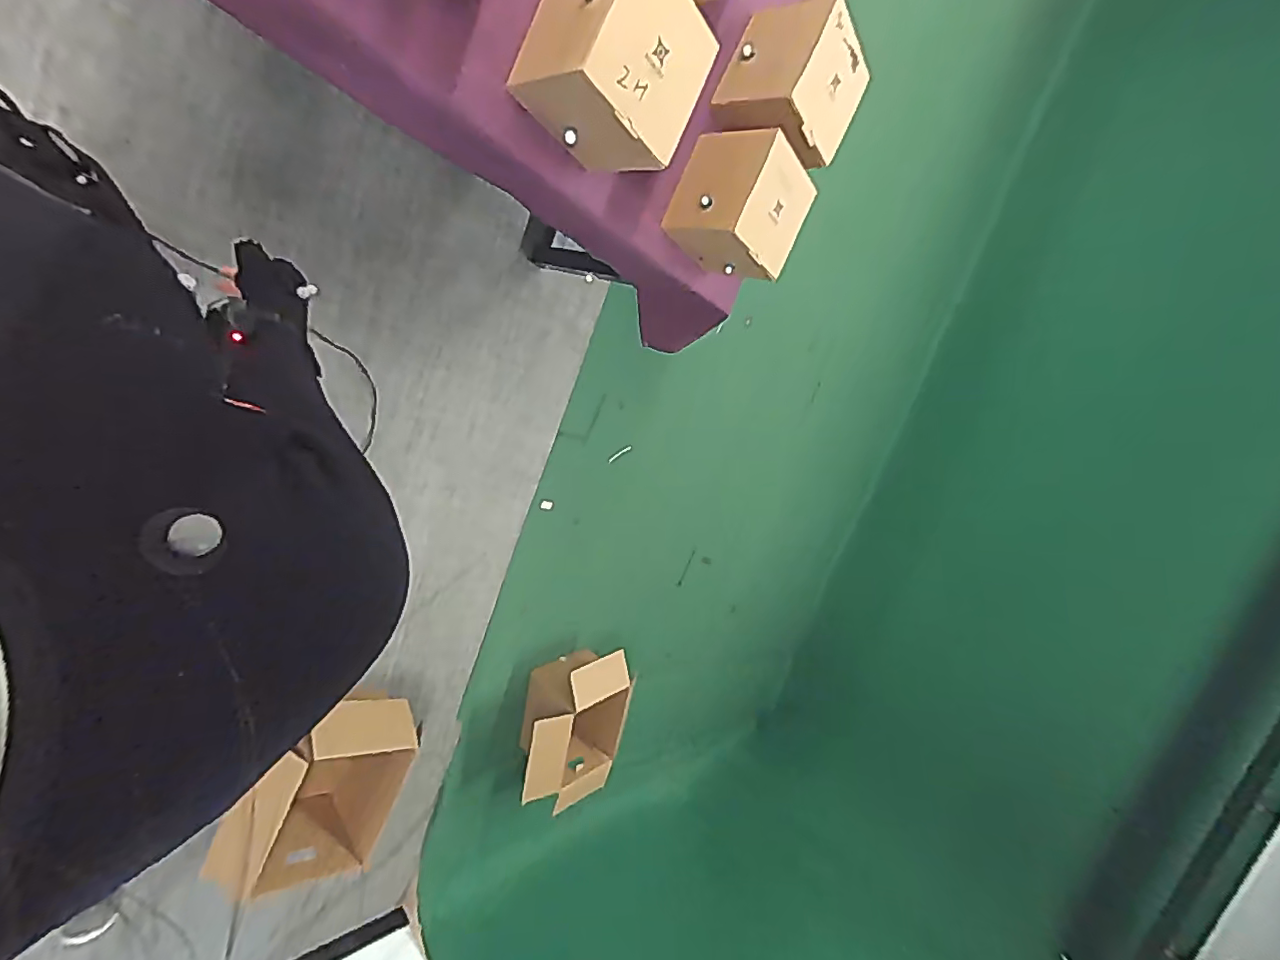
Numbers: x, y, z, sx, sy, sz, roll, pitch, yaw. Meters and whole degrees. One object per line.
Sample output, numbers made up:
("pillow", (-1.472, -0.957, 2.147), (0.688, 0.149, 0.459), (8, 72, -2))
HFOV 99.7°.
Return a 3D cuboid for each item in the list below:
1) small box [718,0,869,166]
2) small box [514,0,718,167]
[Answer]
("small box", (0.259, -0.678, 0.937), (0.168, 0.176, 0.179), (23, 94, -50))
("small box", (-0.035, -0.541, 0.703), (0.168, 0.176, 0.179), (21, 95, -50))
